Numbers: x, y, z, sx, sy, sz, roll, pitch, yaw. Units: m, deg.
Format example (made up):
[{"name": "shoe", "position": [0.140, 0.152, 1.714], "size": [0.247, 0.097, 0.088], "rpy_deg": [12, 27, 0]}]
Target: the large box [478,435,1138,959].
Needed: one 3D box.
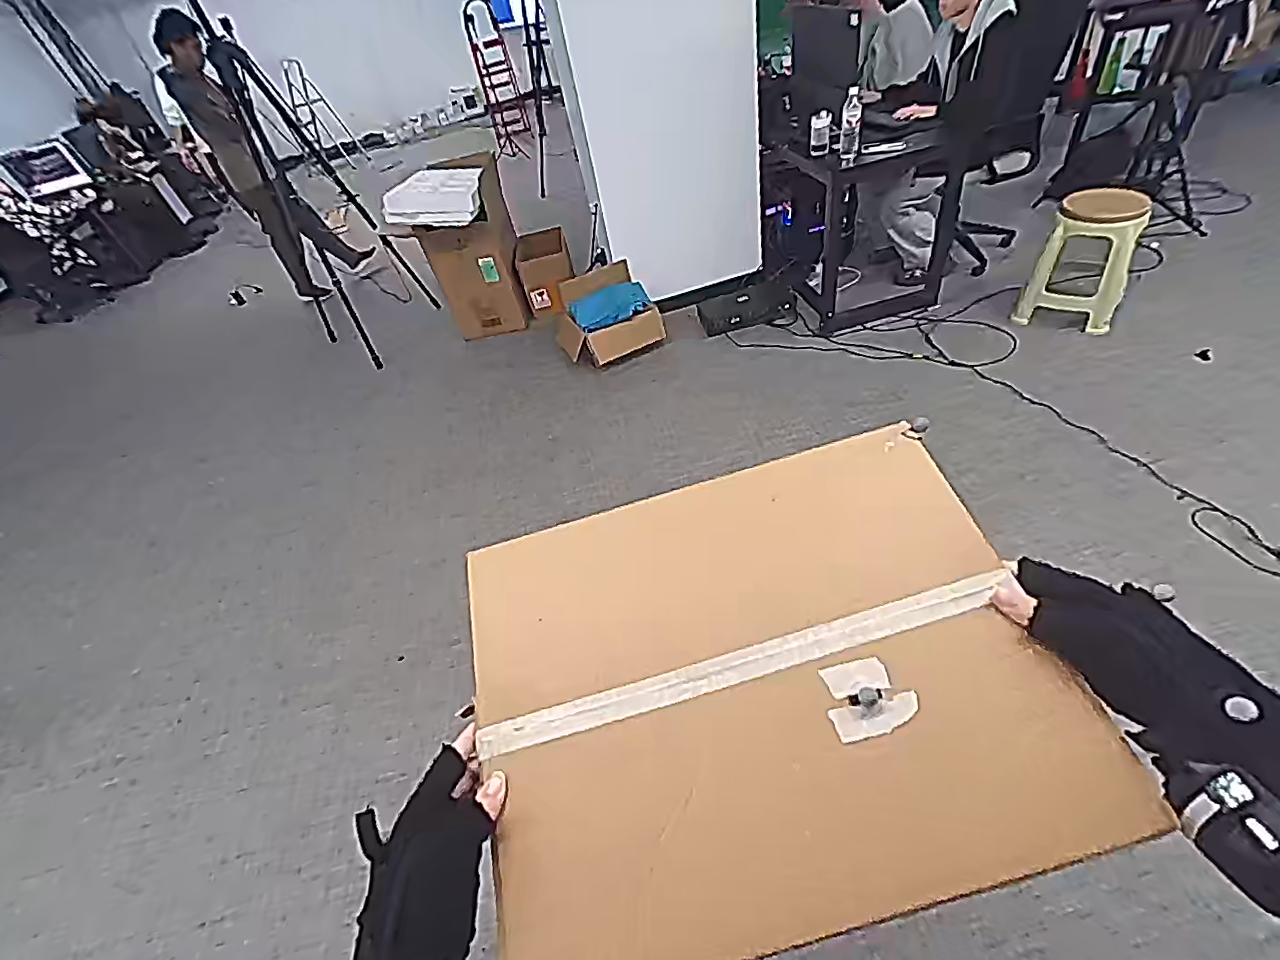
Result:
[{"name": "large box", "position": [0.102, 0.217, 0.532], "size": [0.408, 0.320, 0.320], "rpy_deg": [-17, 58, -1]}]
